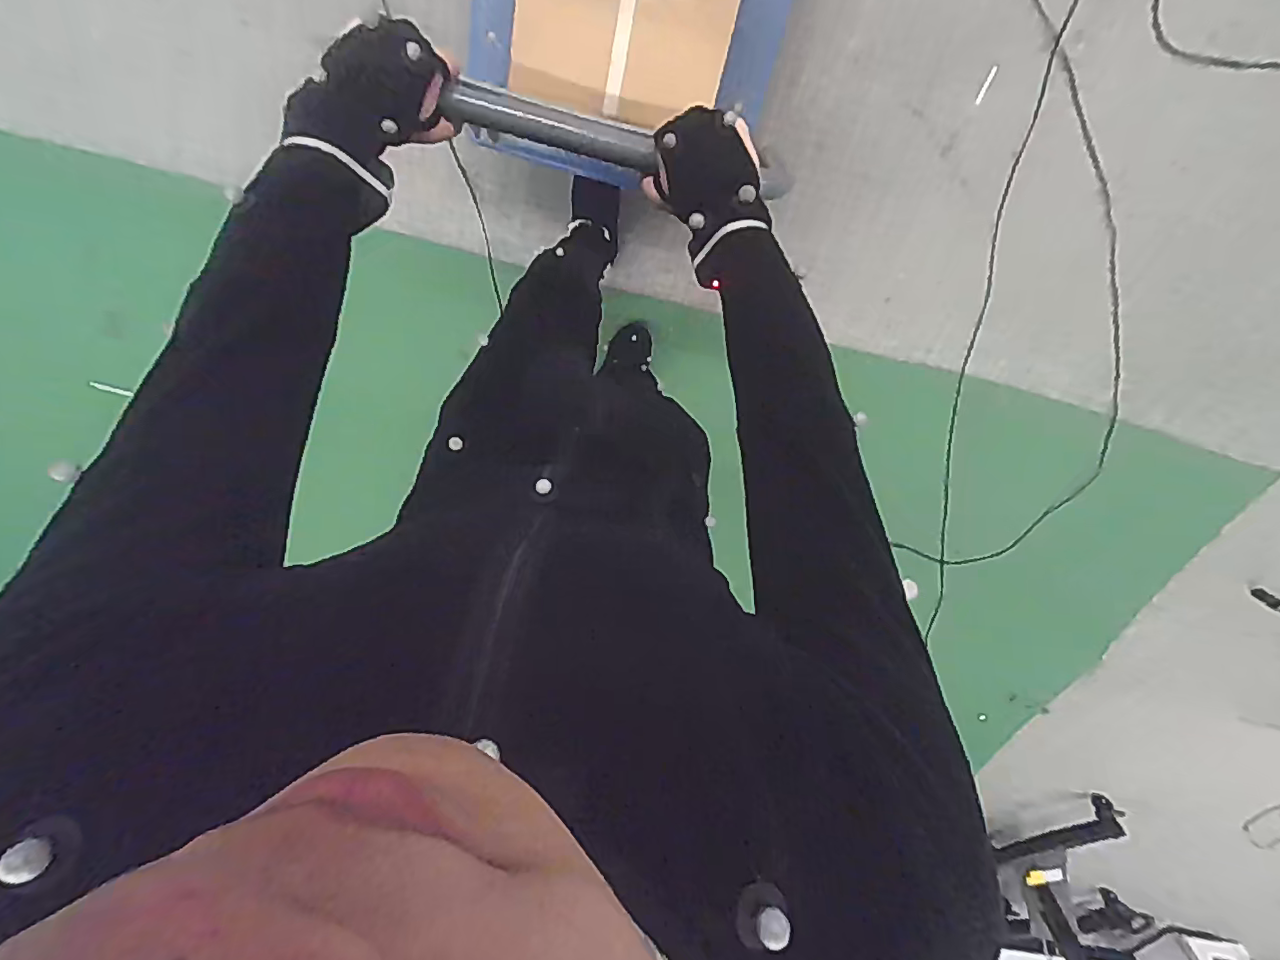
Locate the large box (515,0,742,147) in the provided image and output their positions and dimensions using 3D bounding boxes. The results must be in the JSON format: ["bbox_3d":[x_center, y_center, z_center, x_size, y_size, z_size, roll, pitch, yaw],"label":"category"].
[{"bbox_3d":[0.002,-0.806,0.873,0.320,0.320,0.408,12,119,-6],"label":"large box"}]
